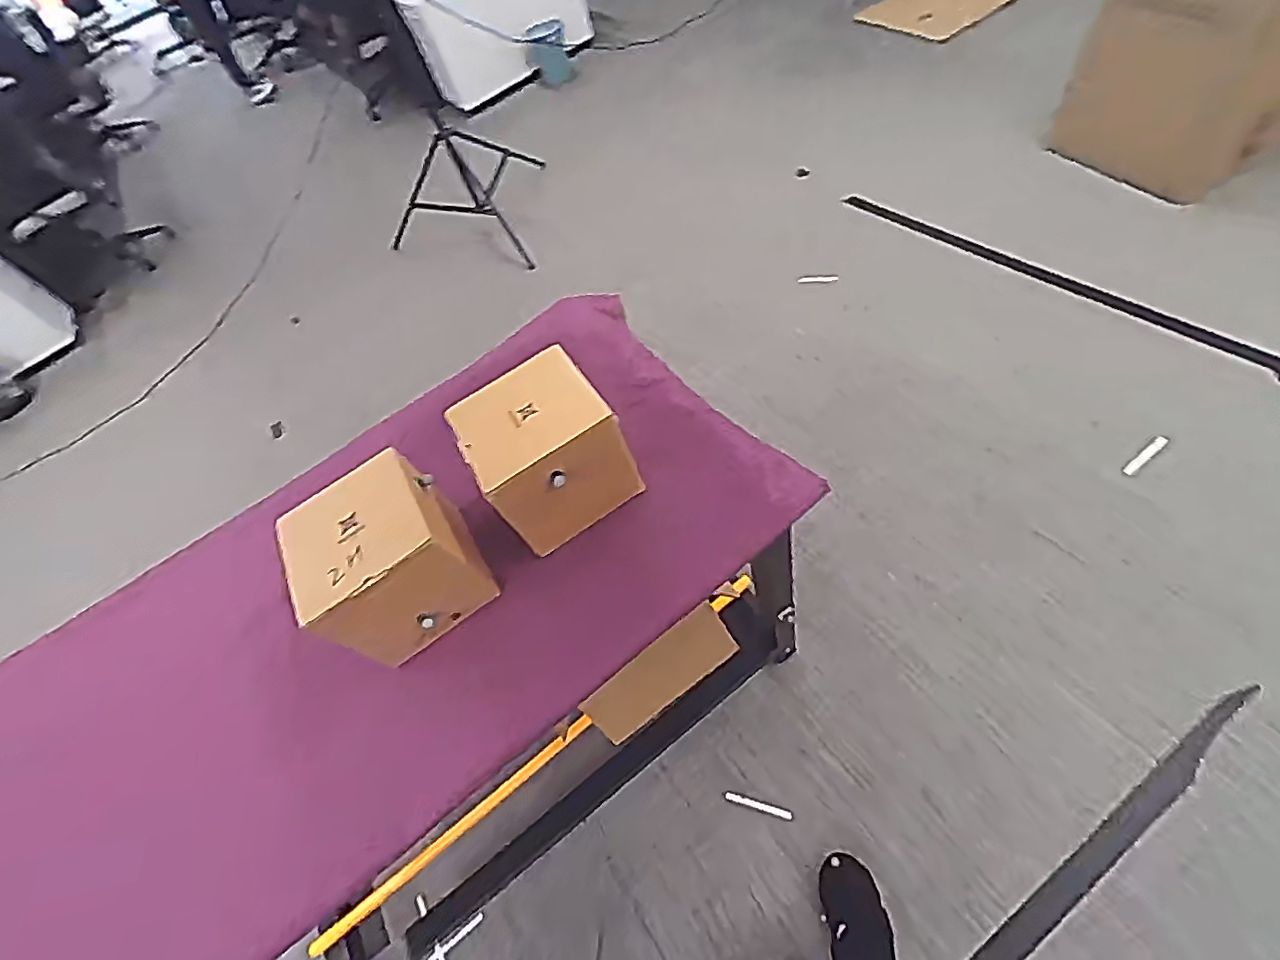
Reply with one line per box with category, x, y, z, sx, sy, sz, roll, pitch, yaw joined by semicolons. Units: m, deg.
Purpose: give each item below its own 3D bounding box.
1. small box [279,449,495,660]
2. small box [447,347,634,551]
small box;-0.318;0.100;0.696;0.168;0.176;0.179;-35;55;-7
small box;-0.123;-0.038;0.731;0.179;0.176;0.168;-34;54;-6
